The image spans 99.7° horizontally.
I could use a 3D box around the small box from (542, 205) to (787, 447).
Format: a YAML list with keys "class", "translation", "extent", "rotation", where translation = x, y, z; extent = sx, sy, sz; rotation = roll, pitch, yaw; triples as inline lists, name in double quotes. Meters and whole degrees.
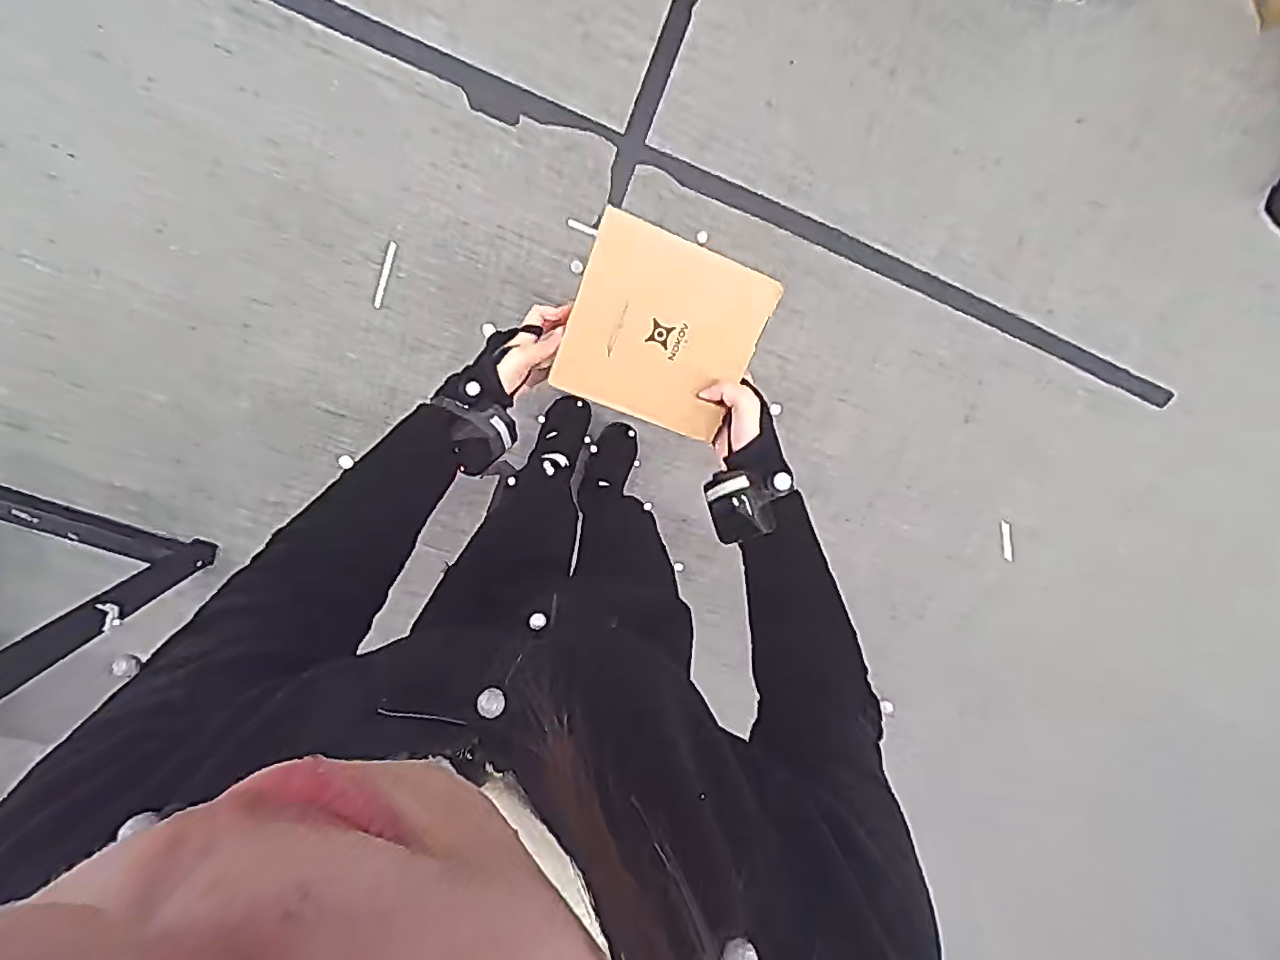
- class: "small box"
  translation: [0.015, -0.161, 0.555]
  extent: [0.179, 0.176, 0.168]
  rotation: [20, 111, -12]
